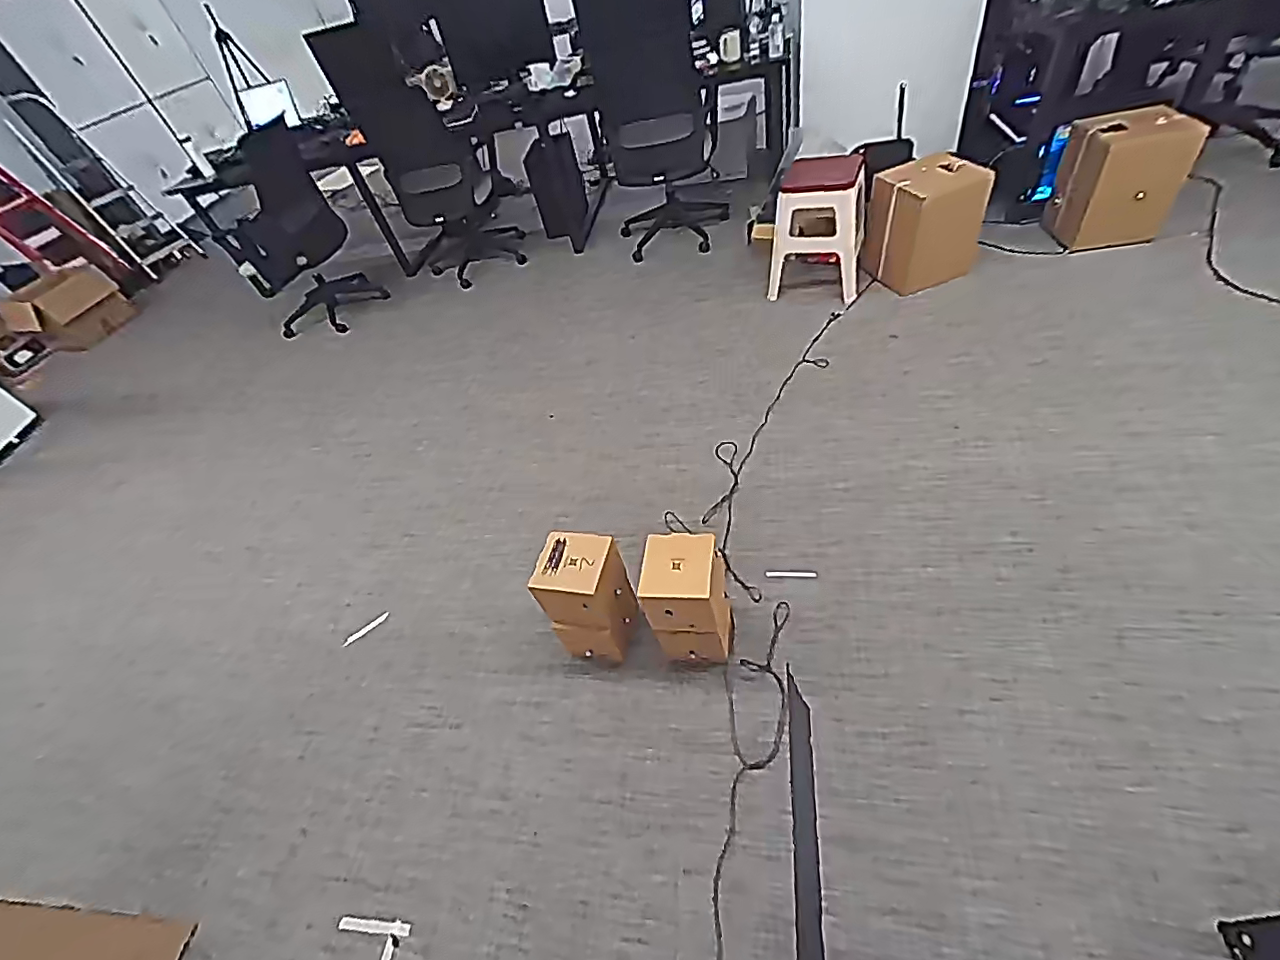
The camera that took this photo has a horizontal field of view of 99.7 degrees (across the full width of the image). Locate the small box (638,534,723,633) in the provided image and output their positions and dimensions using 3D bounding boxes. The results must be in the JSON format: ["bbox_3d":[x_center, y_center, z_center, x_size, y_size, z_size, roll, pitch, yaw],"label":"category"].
[{"bbox_3d":[0.105,0.250,1.295,0.168,0.176,0.179,-2,47,16],"label":"small box"}]

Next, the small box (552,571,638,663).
[{"bbox_3d":[-0.114,0.373,1.473,0.168,0.176,0.179,3,50,19],"label":"small box"}]

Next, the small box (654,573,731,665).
[{"bbox_3d":[0.144,0.359,1.410,0.168,0.176,0.179,-3,48,16],"label":"small box"}]
